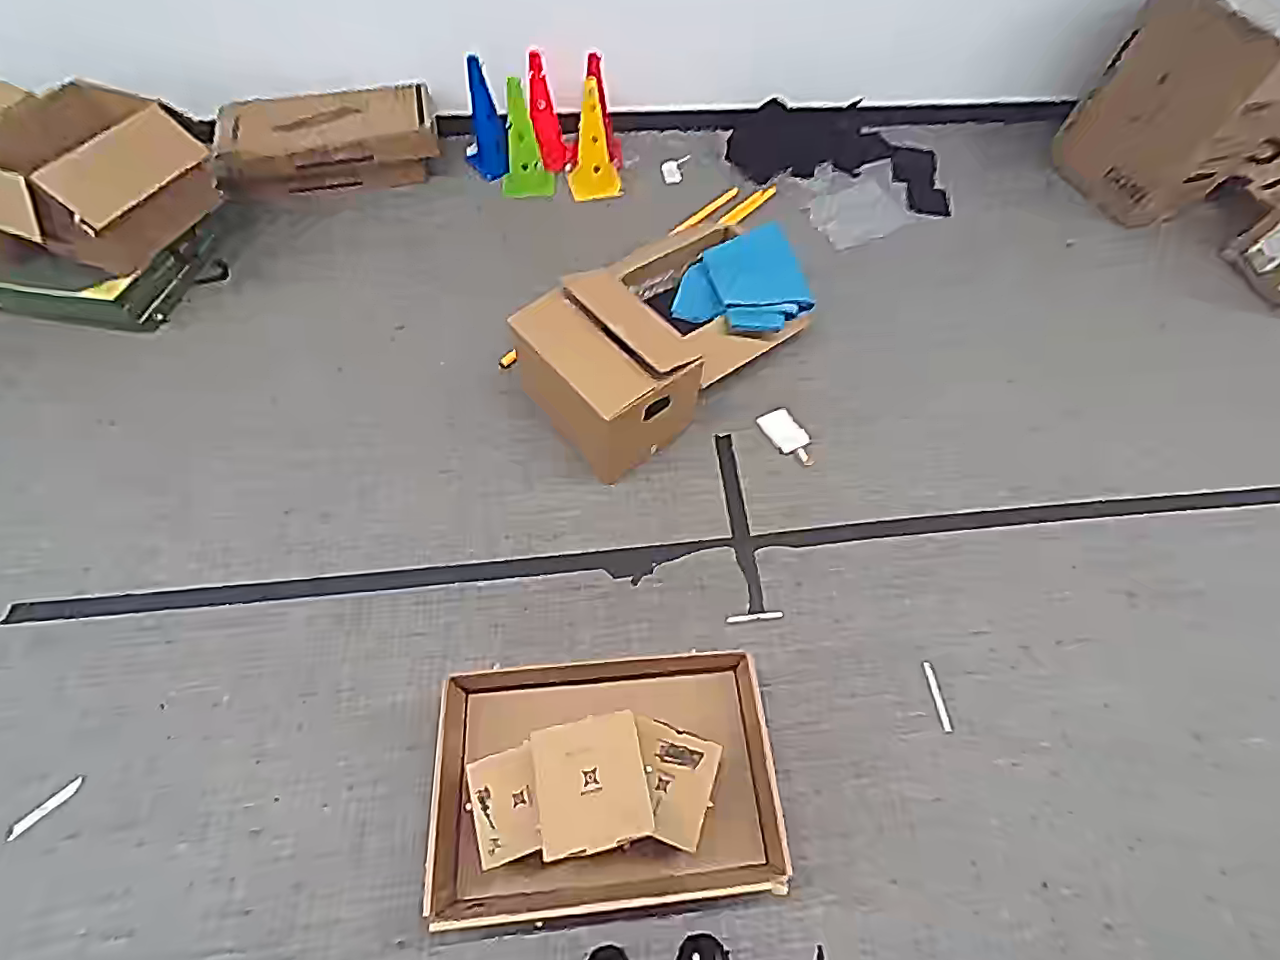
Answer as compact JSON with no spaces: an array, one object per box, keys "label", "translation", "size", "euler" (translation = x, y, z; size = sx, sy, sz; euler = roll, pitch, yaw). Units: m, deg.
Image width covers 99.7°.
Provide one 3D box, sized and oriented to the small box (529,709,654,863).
[{"label":"small box","translation":[-0.078,0.491,0.879],"size":[0.168,0.176,0.179],"euler":[-10,60,-9]}]
